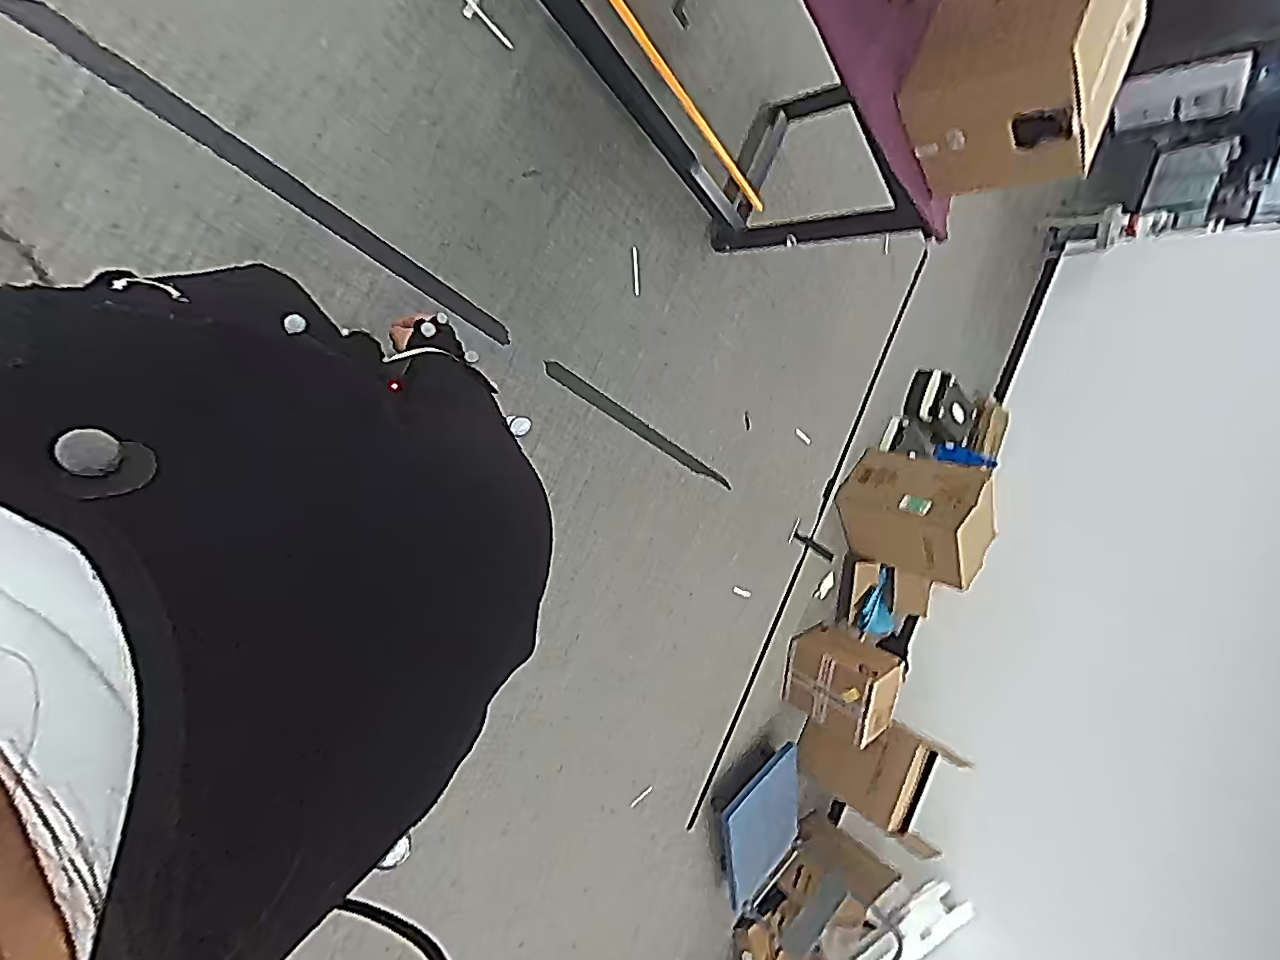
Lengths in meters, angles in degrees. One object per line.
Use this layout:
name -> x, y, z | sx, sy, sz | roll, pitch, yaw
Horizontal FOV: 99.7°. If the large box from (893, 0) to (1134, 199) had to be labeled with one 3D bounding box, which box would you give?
large box -> 0.802, -0.902, 1.166 | 0.320, 0.320, 0.408 | 28, 83, -45
